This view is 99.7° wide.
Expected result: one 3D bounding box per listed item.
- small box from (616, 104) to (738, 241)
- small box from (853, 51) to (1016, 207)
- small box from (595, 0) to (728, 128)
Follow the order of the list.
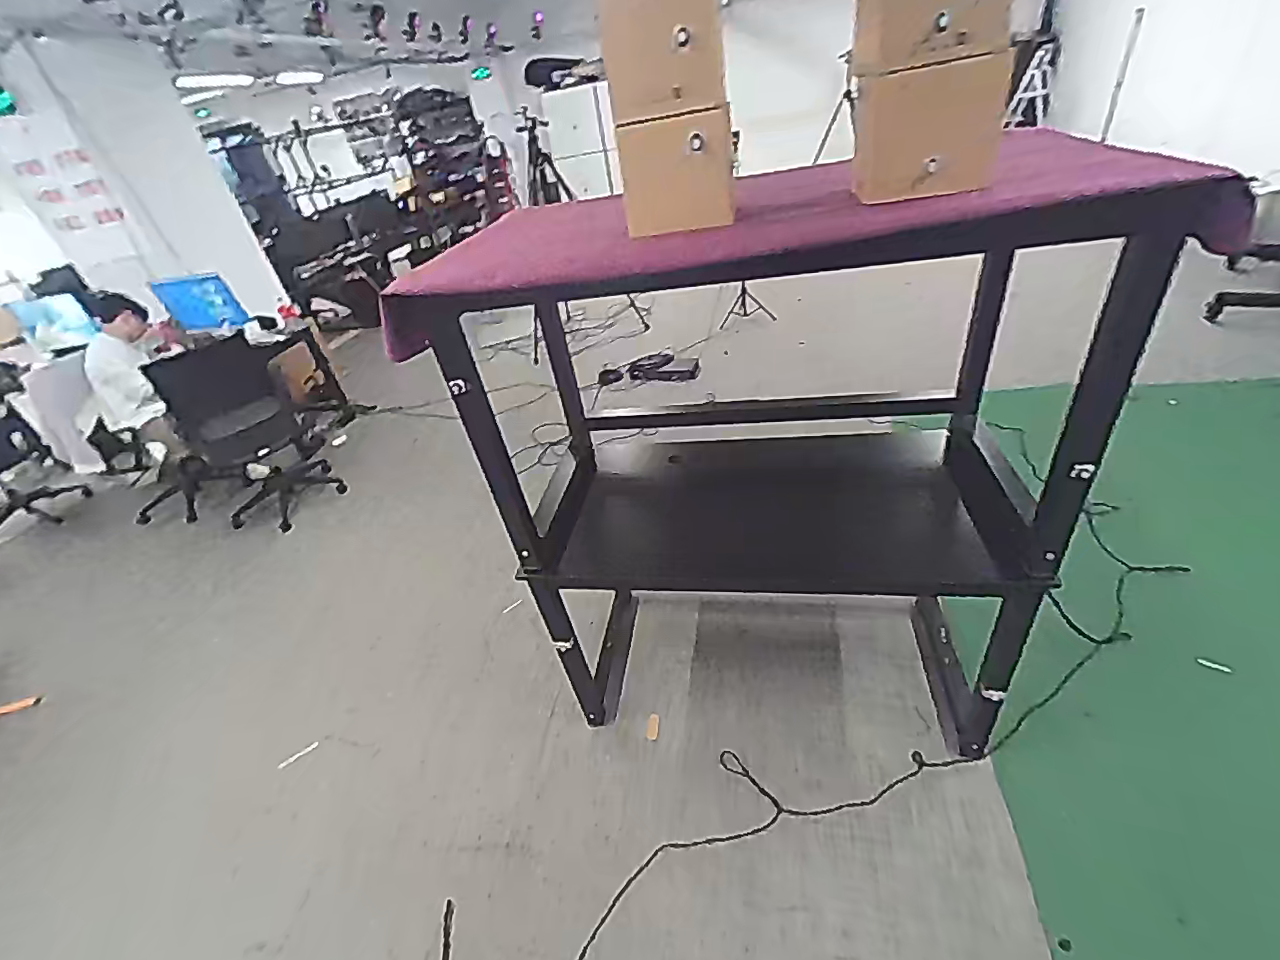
[{"bbox_3d":[0.074,-0.524,0.926,0.179,0.176,0.168,-2,36,15],"label":"small box"},{"bbox_3d":[0.435,-0.536,0.833,0.179,0.176,0.168,-2,34,14],"label":"small box"},{"bbox_3d":[0.045,-0.658,0.837,0.168,0.176,0.179,0,36,15],"label":"small box"}]
